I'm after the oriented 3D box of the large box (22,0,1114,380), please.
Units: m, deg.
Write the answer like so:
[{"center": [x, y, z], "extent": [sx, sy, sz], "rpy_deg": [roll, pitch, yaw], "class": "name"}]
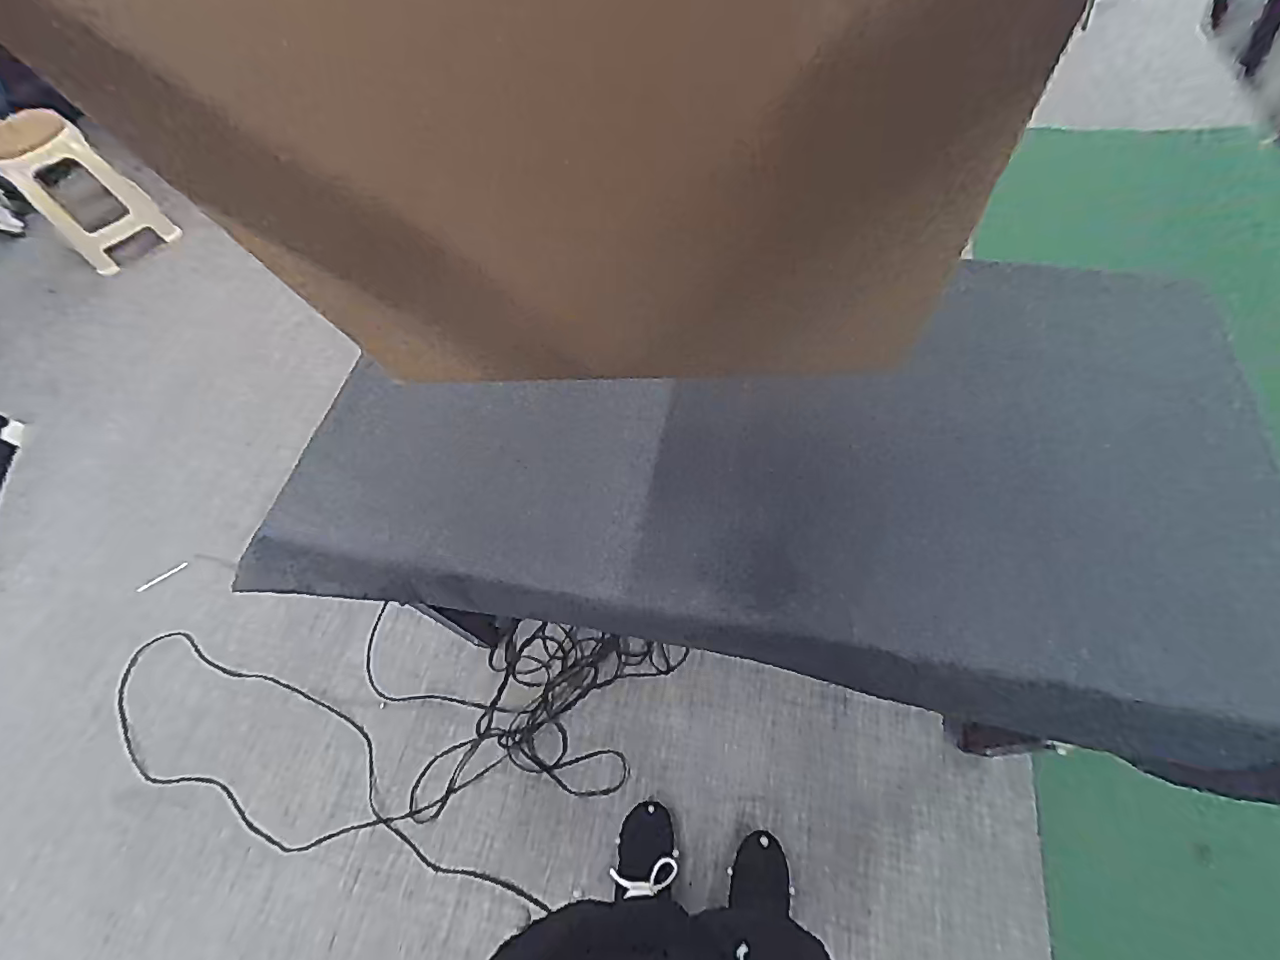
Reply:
[{"center": [-0.012, -0.275, 0.335], "extent": [0.408, 0.320, 0.320], "rpy_deg": [1, 71, 10], "class": "large box"}]
